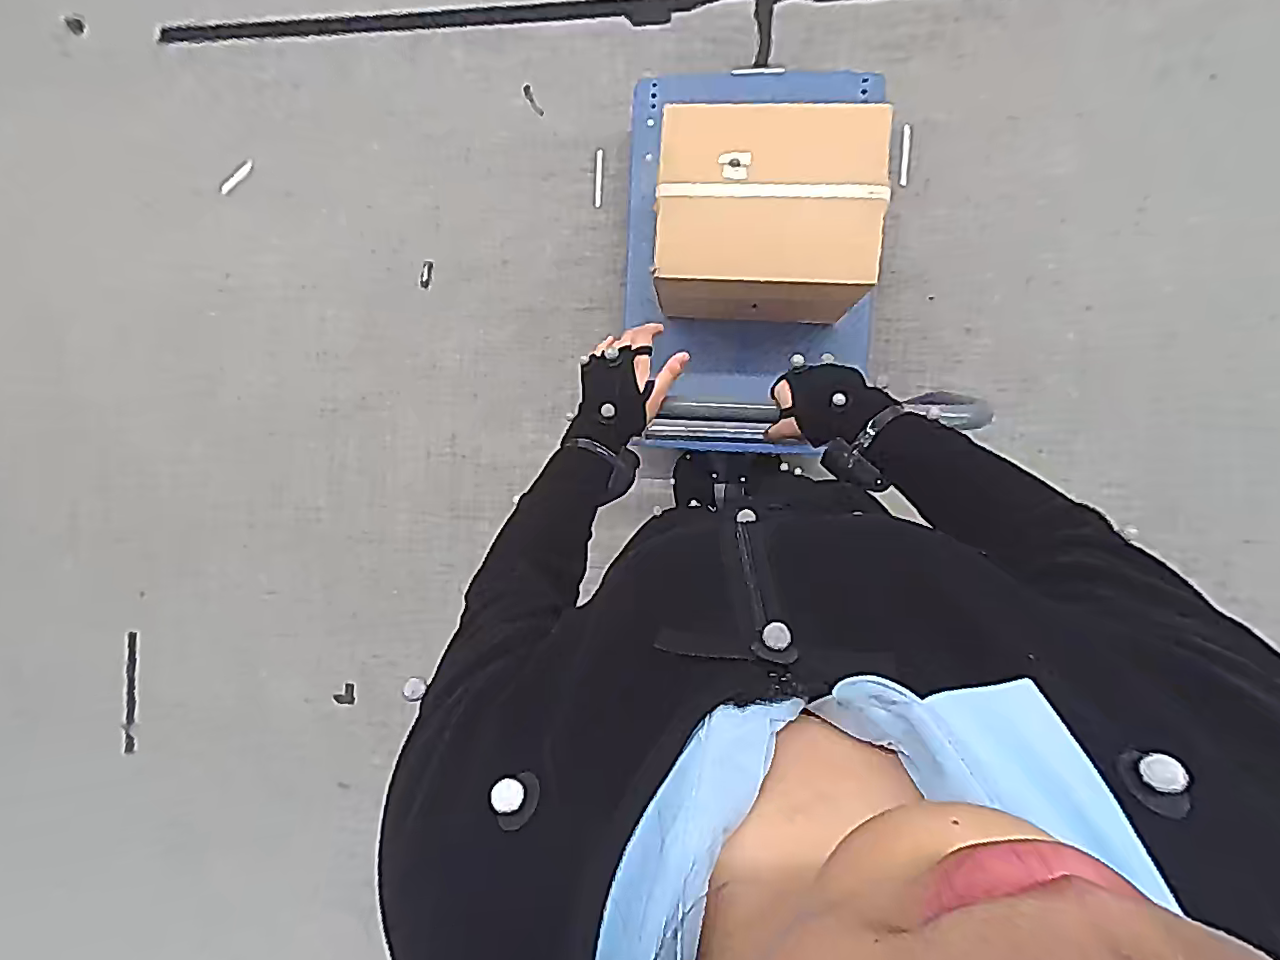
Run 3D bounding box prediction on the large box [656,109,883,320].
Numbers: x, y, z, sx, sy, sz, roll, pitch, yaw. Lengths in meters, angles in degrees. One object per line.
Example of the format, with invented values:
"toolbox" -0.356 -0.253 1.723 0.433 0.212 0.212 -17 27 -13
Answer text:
"large box" 0.254 -0.529 1.145 0.408 0.320 0.320 4 93 7
